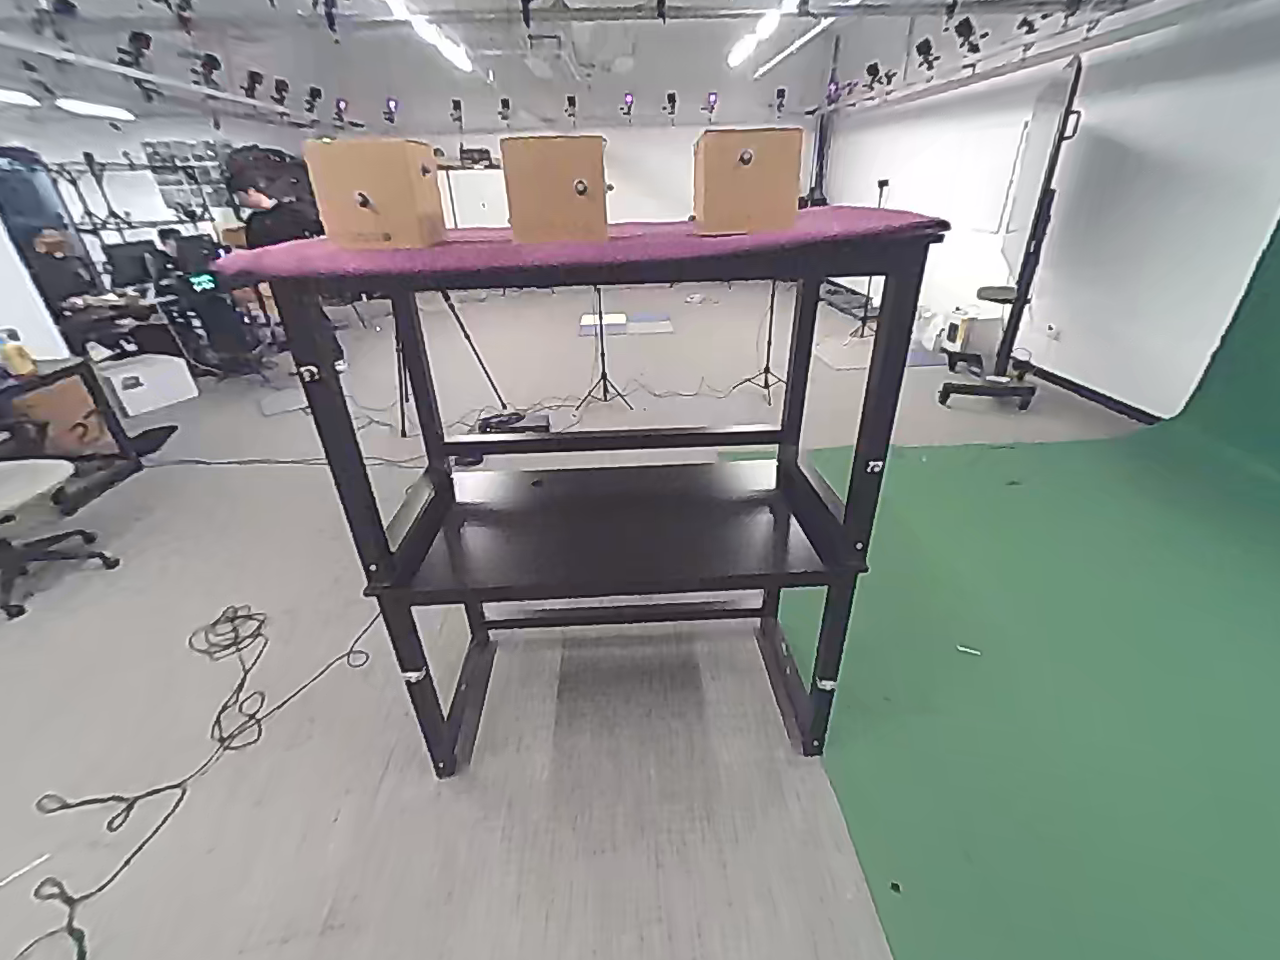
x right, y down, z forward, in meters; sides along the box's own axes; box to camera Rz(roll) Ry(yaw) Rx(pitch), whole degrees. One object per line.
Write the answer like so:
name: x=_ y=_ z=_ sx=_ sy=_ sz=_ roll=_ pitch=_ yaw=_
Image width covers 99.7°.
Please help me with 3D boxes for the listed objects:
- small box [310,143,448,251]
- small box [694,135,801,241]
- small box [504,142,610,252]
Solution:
small box: x=-0.466 y=-0.521 z=1.001 sx=0.168 sy=0.176 sz=0.179 roll=-1 pitch=28 yaw=-4
small box: x=0.201 y=-0.559 z=1.053 sx=0.179 sy=0.176 sz=0.168 roll=-1 pitch=26 yaw=-1
small box: x=-0.146 y=-0.533 z=1.022 sx=0.179 sy=0.176 sz=0.168 roll=-3 pitch=27 yaw=-2
